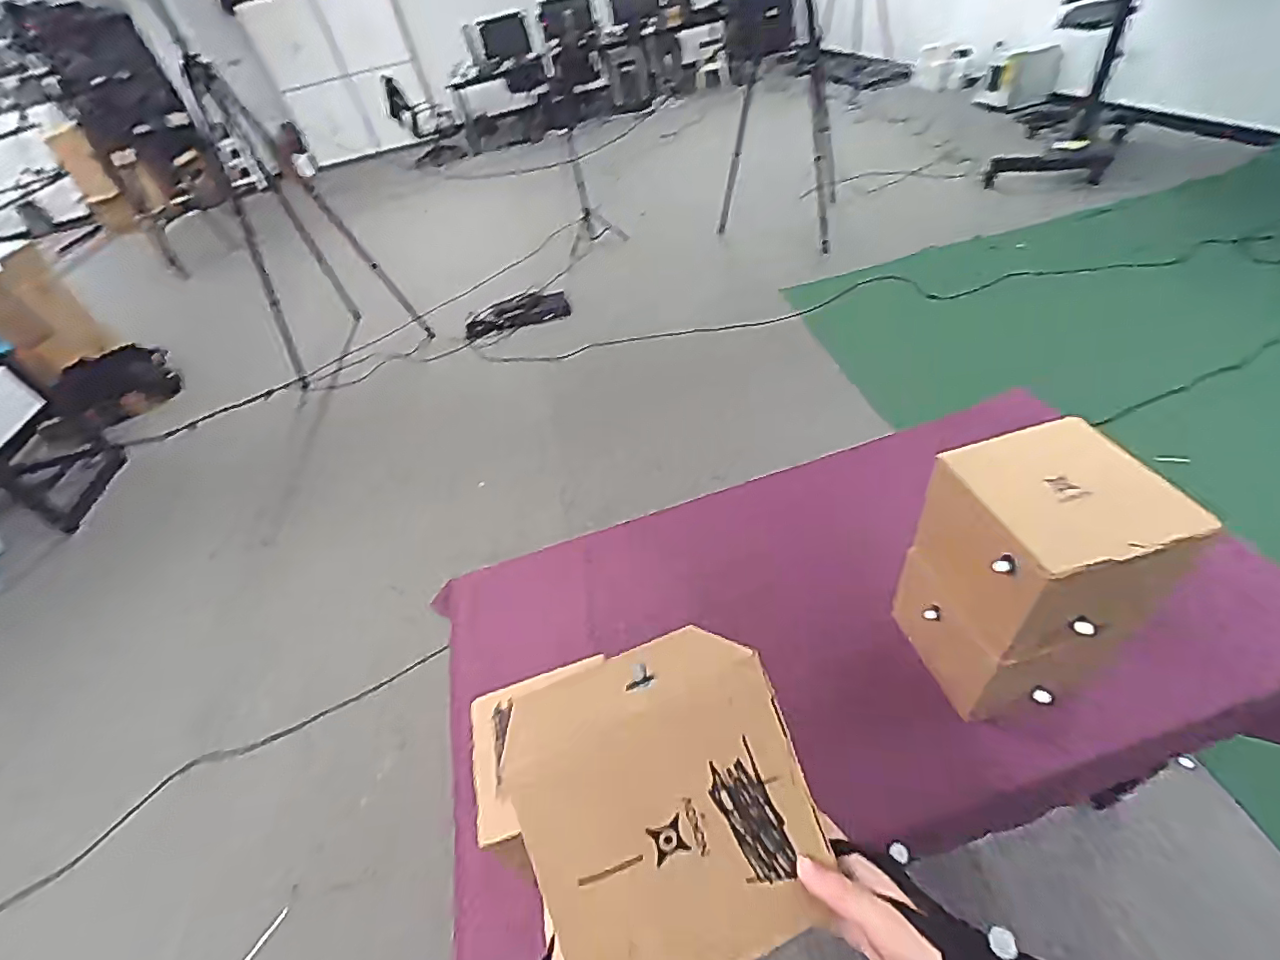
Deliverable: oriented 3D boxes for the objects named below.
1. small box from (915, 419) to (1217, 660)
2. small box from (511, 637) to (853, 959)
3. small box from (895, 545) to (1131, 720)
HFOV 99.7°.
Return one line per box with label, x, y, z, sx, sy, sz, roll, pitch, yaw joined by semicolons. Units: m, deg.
small box;0.434;0.066;0.596;0.168;0.176;0.179;-16;45;-2
small box;0.015;0.231;0.403;0.179;0.176;0.168;-19;85;-12
small box;0.461;0.180;0.709;0.168;0.176;0.179;-17;44;-1
